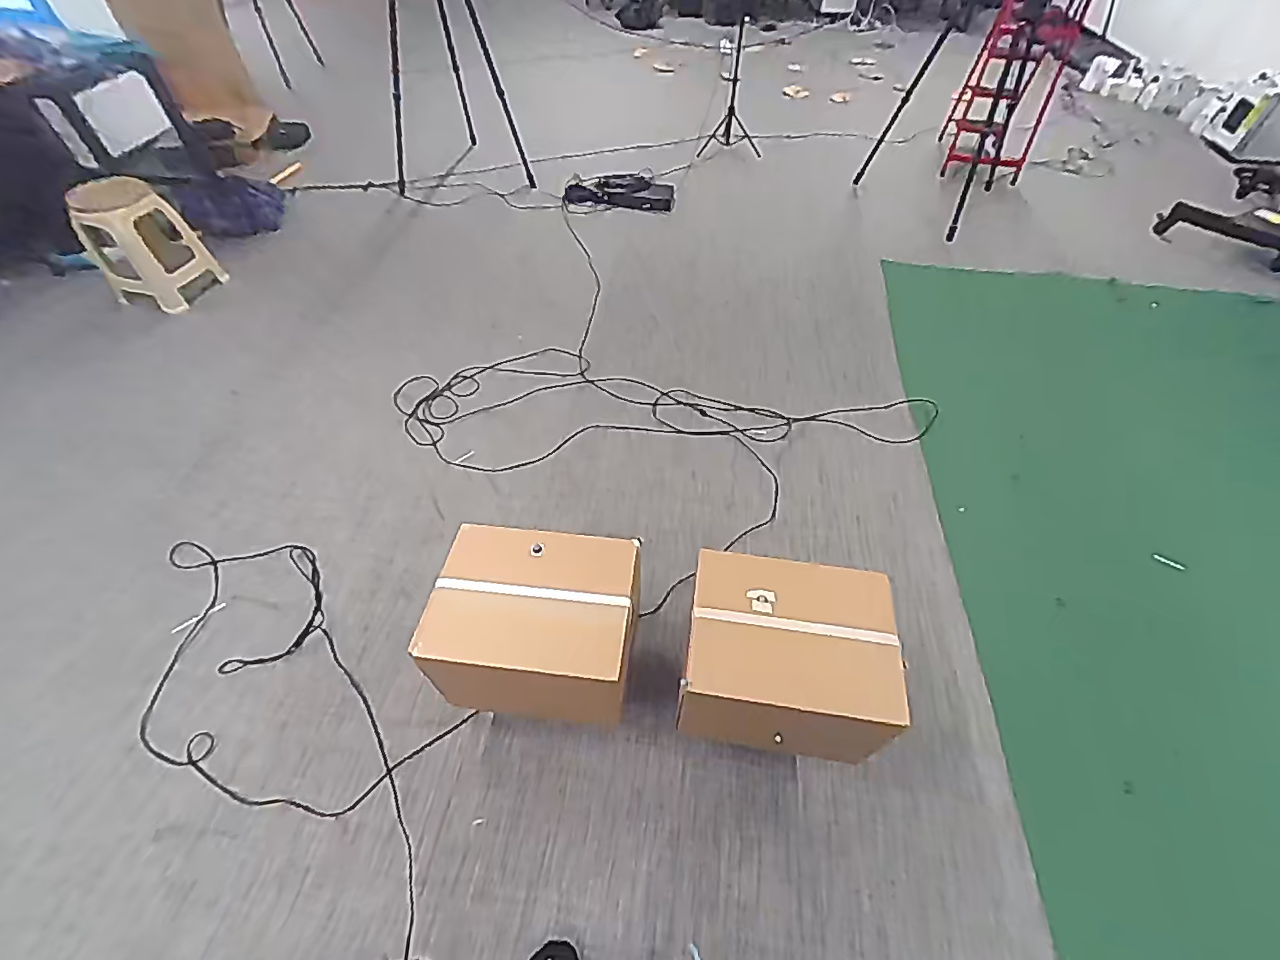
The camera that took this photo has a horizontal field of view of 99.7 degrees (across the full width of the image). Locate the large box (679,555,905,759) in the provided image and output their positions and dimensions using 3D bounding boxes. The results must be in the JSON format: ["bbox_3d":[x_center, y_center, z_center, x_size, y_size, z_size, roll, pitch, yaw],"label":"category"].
[{"bbox_3d":[0.309,0.397,1.200,0.408,0.320,0.320,7,51,6],"label":"large box"}]
